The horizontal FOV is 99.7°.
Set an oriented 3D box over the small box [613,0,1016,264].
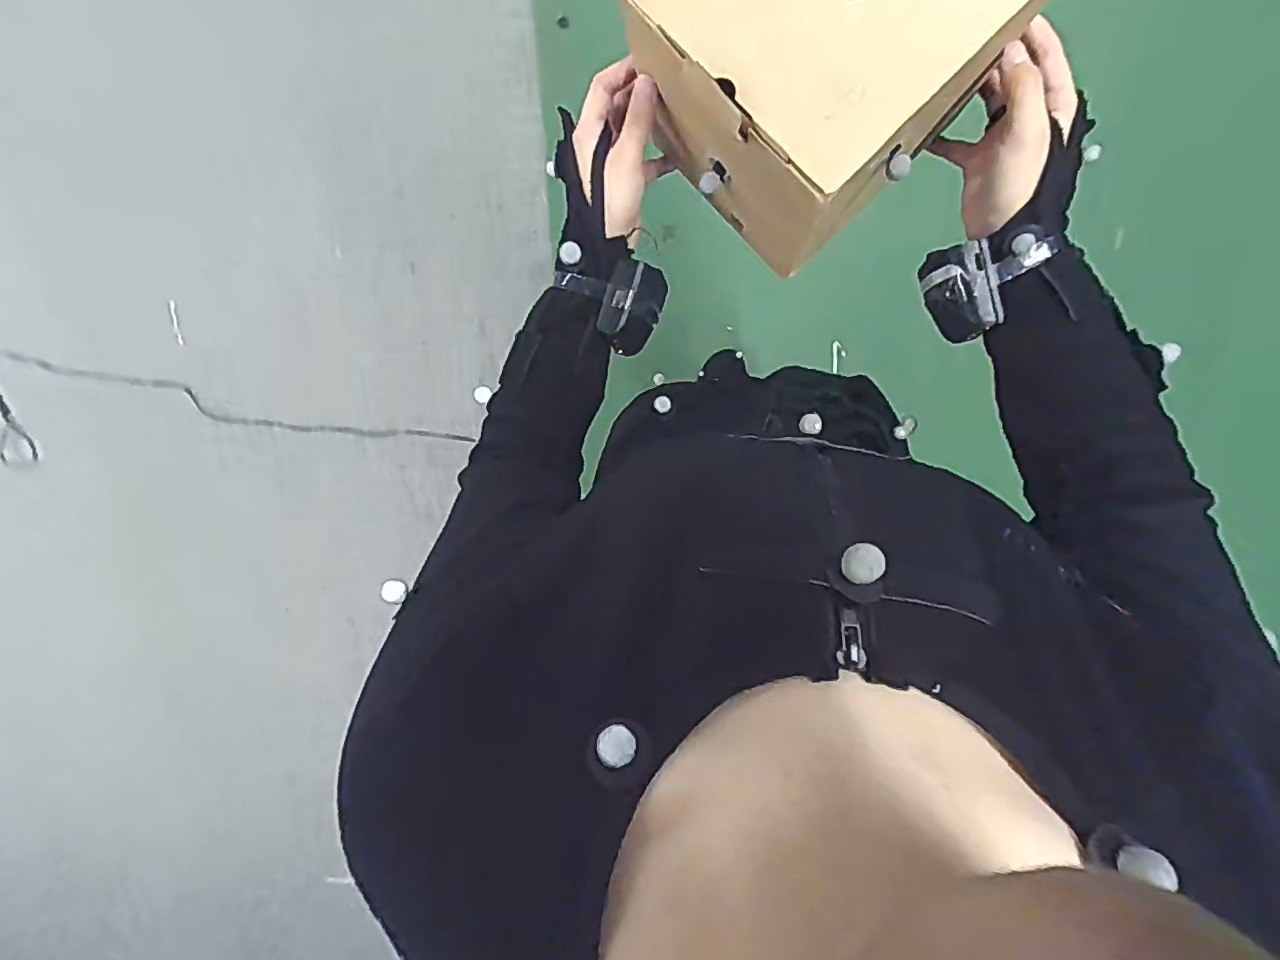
[{"bbox_3d":[0.112,-0.281,0.365,0.179,0.176,0.168,-44,88,11],"label":"small box"}]
